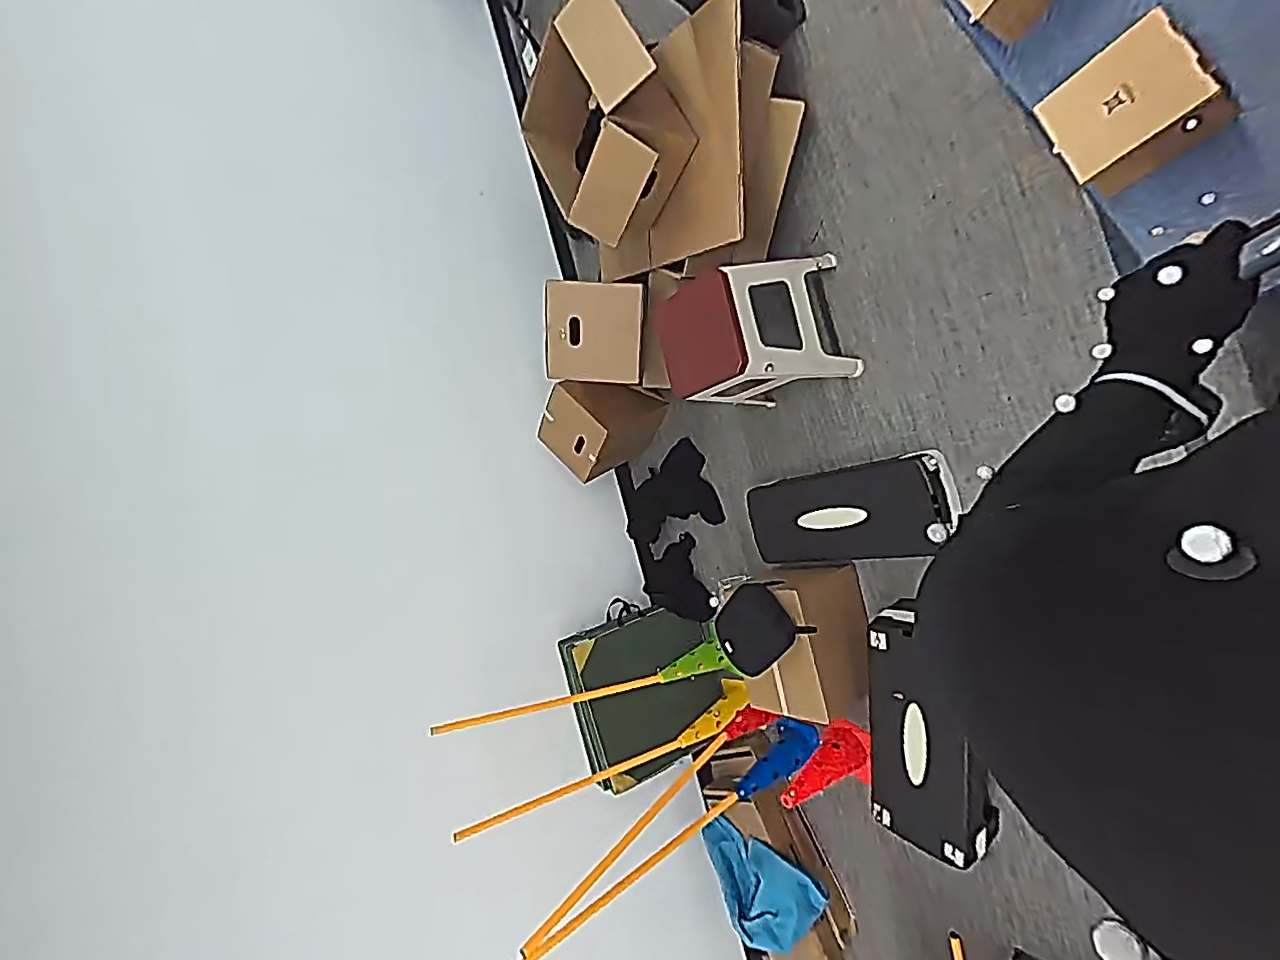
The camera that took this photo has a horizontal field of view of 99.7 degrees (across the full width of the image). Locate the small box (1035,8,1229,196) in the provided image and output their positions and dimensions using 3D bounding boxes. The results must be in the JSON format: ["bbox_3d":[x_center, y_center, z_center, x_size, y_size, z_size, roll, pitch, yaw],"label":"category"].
[{"bbox_3d":[0.810,-0.604,0.893,0.179,0.176,0.168,-35,72,50],"label":"small box"}]
